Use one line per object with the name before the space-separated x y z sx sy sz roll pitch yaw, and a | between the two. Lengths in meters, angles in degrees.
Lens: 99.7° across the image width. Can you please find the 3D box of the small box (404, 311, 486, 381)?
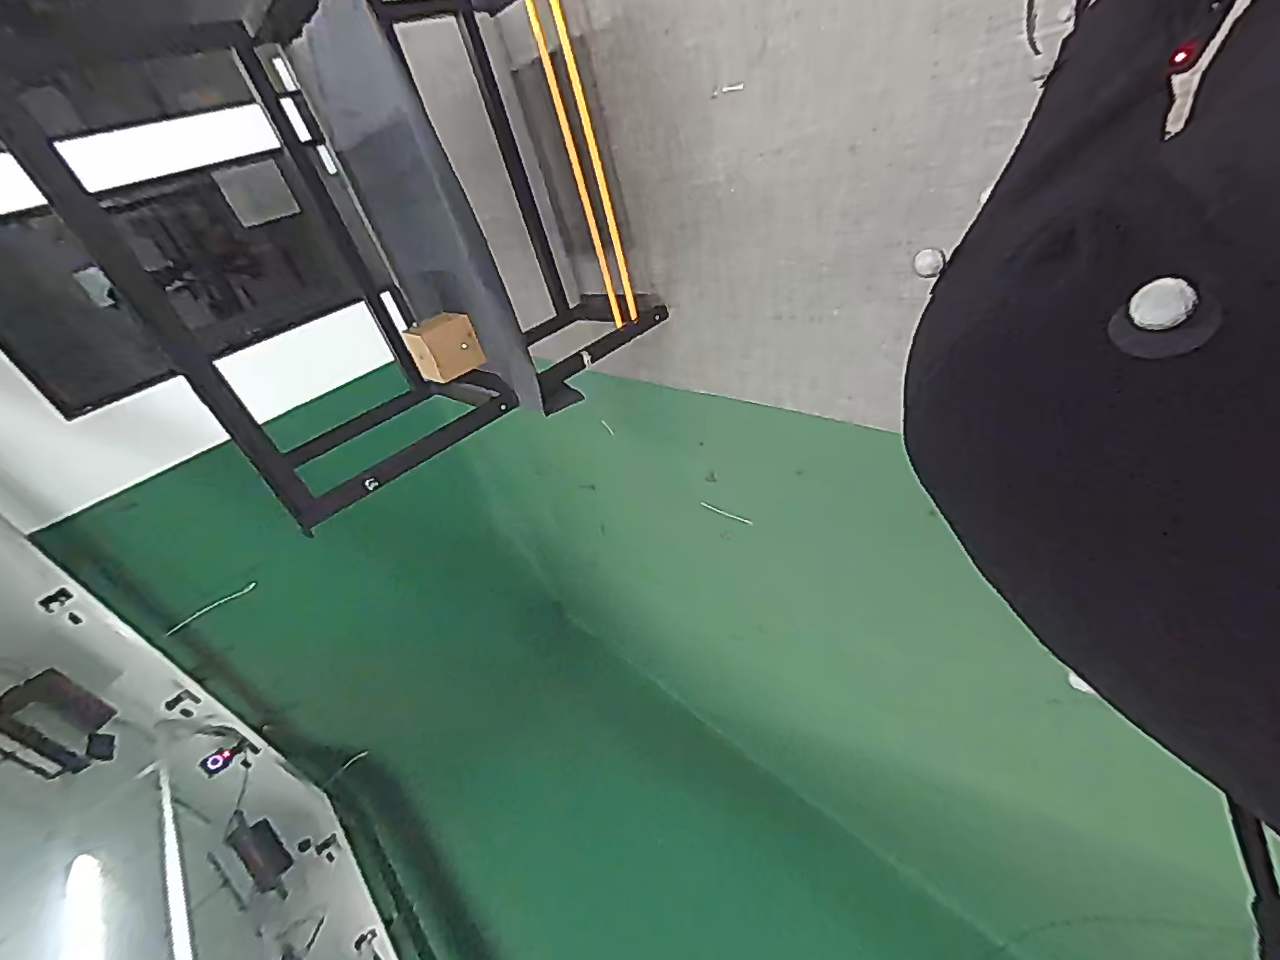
small box | -0.639 -0.448 1.784 0.179 0.176 0.168 21 139 44
